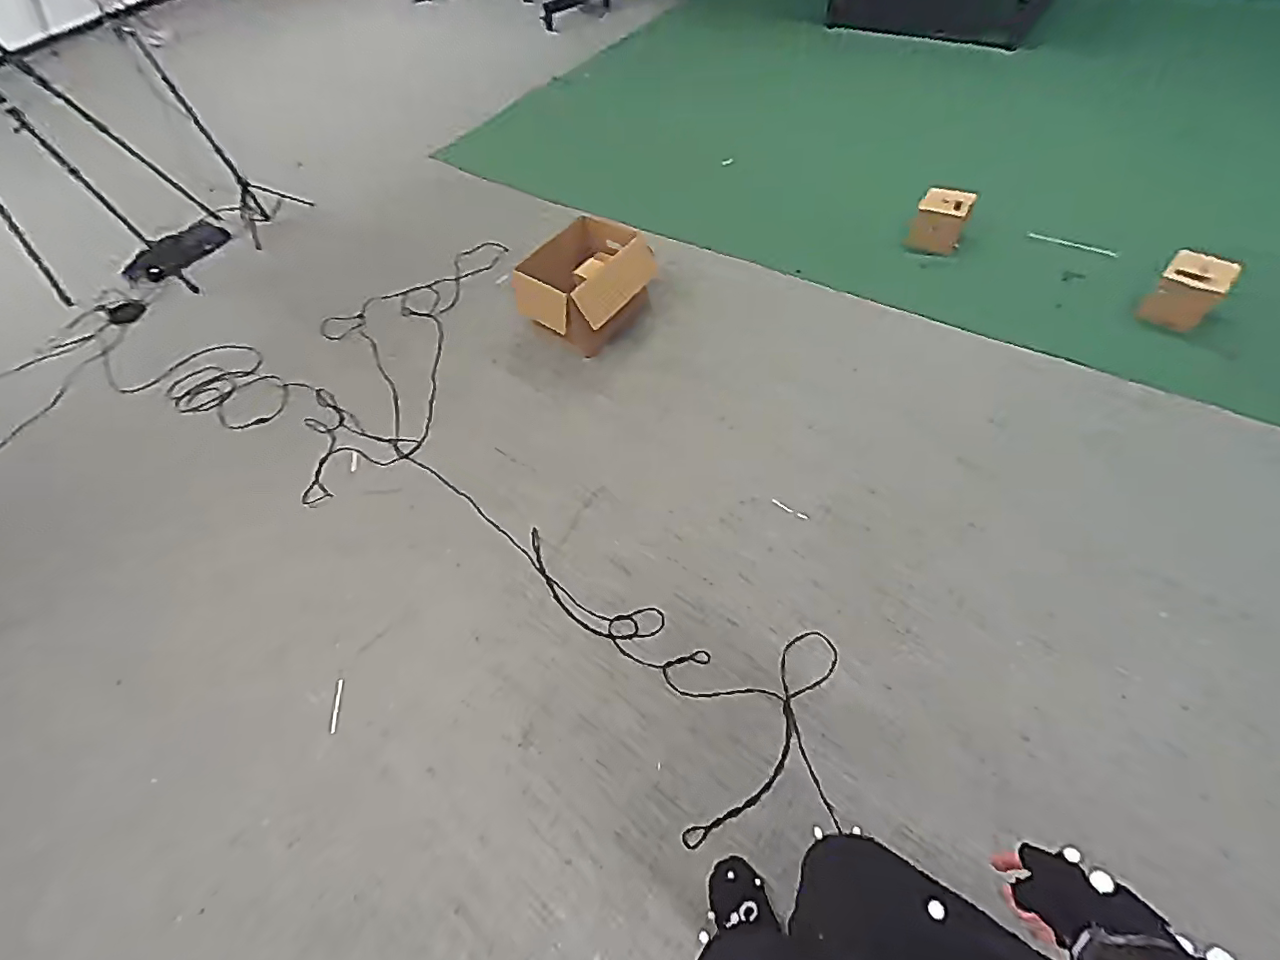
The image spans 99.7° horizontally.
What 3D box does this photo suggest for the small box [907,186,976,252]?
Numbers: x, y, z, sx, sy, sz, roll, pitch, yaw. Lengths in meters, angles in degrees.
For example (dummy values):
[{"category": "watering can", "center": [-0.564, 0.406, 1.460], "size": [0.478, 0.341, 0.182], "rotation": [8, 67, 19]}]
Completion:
[{"category": "small box", "center": [1.211, -1.047, 2.179], "size": [0.179, 0.176, 0.168], "rotation": [26, 64, 26]}]
